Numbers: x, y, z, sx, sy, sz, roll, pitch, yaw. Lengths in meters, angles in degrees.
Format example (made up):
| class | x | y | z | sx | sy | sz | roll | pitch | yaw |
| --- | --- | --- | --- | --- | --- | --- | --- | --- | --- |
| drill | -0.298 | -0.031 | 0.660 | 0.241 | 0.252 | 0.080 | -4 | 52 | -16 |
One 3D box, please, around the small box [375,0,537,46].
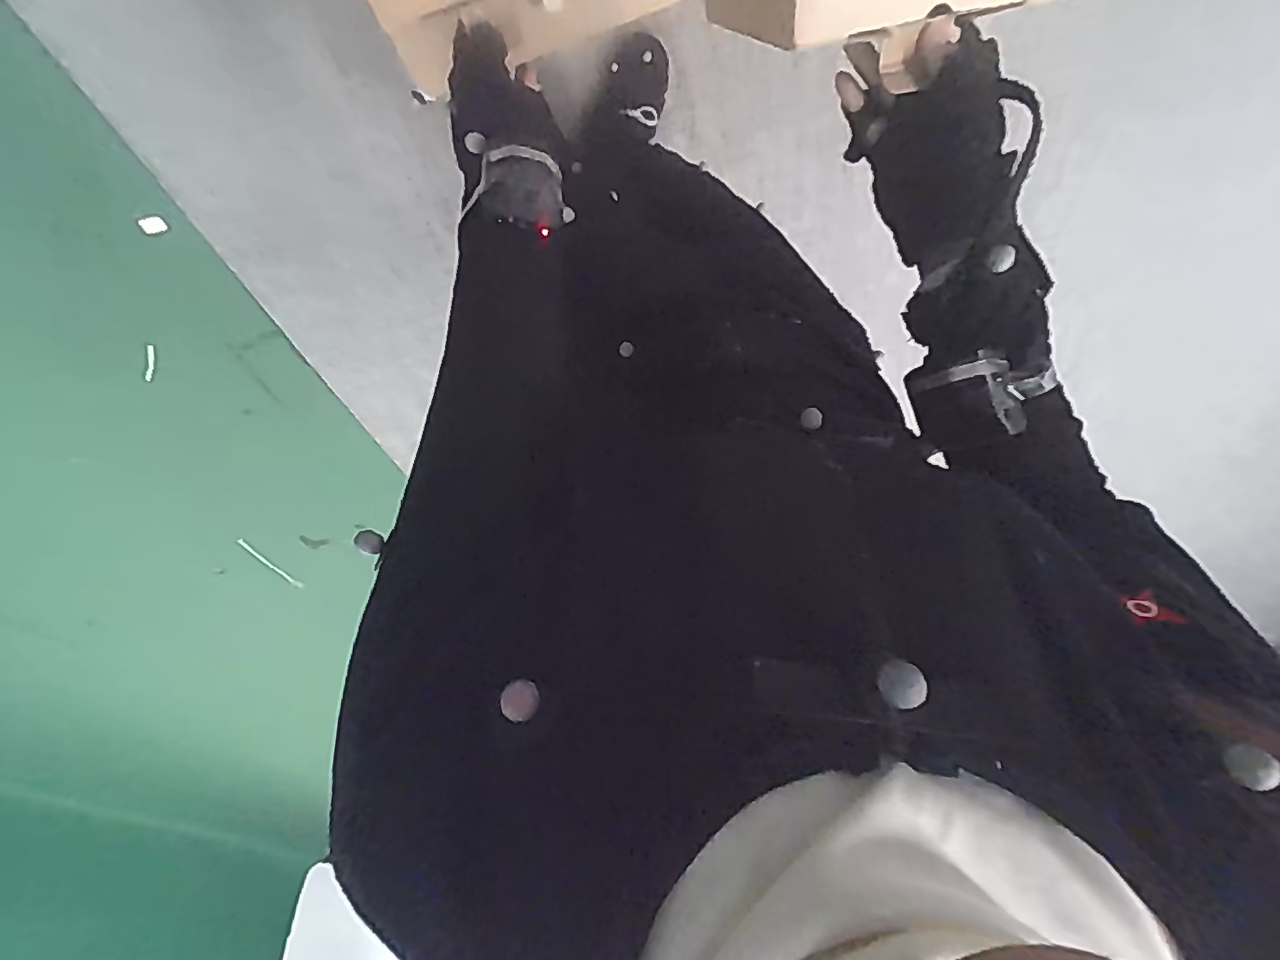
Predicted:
| class | x | y | z | sx | sy | sz | roll | pitch | yaw |
| --- | --- | --- | --- | --- | --- | --- | --- | --- | --- |
| small box | -0.148 | -0.486 | 0.433 | 0.168 | 0.176 | 0.179 | -15 | 130 | 7 |
